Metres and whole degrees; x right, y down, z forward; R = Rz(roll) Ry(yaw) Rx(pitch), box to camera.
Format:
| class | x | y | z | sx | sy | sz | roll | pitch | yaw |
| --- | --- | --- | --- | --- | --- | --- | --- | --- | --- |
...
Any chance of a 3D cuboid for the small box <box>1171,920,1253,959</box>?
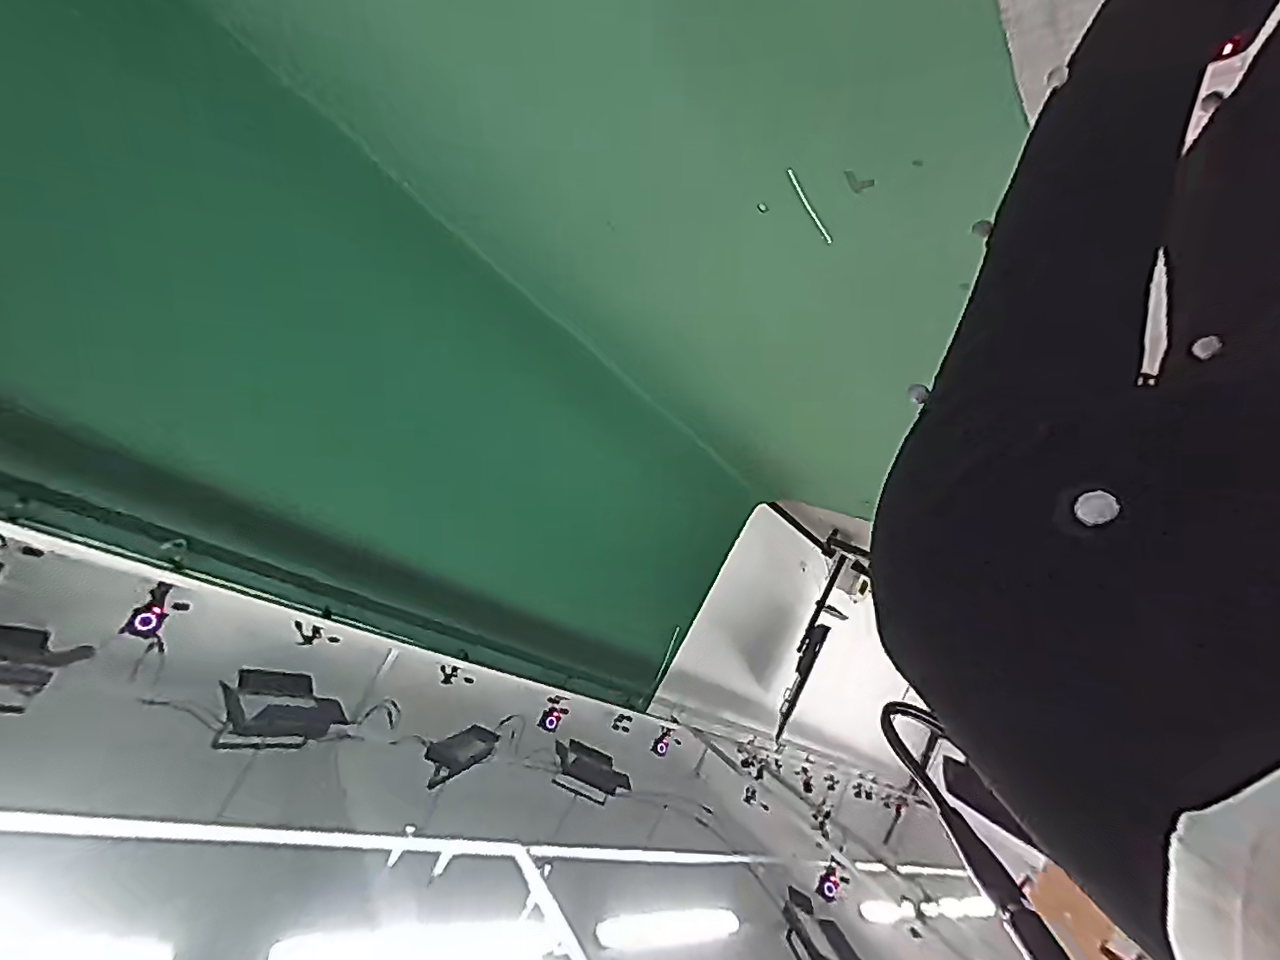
| class | x | y | z | sx | sy | sz | roll | pitch | yaw |
| --- | --- | --- | --- | --- | --- | --- | --- | --- | --- |
| small box | 1.527 | 1.312 | 1.419 | 0.168 | 0.176 | 0.179 | 34 | 172 | -36 |

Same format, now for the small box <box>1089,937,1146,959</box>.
| class | x | y | z | sx | sy | sz | roll | pitch | yaw |
| --- | --- | --- | --- | --- | --- | --- | --- | --- | --- |
| small box | 1.376 | 1.430 | 1.522 | 0.179 | 0.176 | 0.168 | 34 | 172 | -36 |

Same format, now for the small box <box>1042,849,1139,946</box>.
| class | x | y | z | sx | sy | sz | roll | pitch | yaw |
| --- | --- | --- | --- | --- | --- | --- | --- | --- | --- |
| small box | 1.371 | 1.257 | 1.644 | 0.168 | 0.176 | 0.179 | 33 | 171 | -36 |
